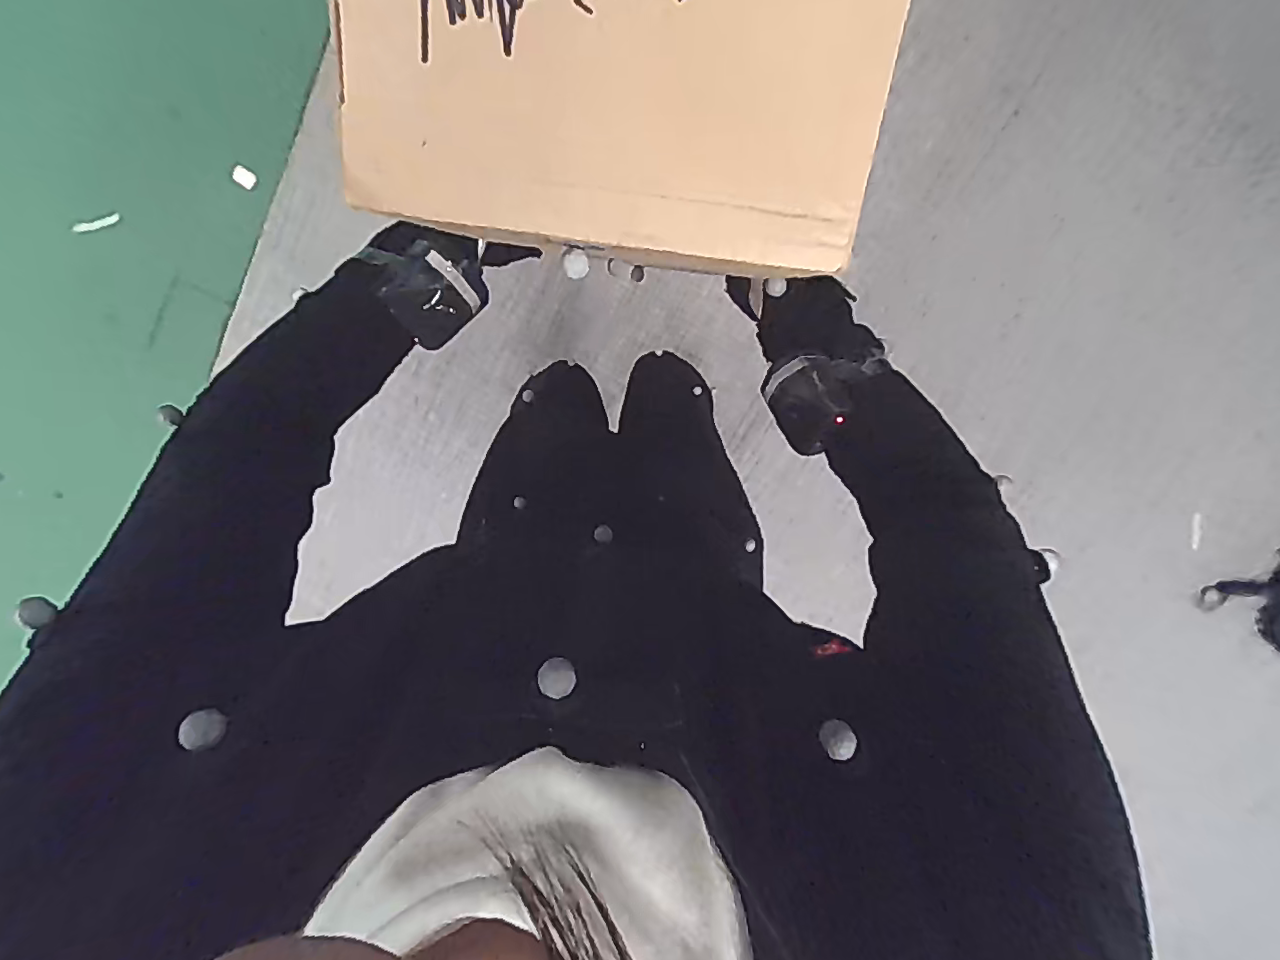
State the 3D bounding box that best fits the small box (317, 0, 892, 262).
[{"bbox_3d":[-0.007,-0.190,0.230,0.179,0.176,0.168,7,112,-1],"label":"small box"}]
